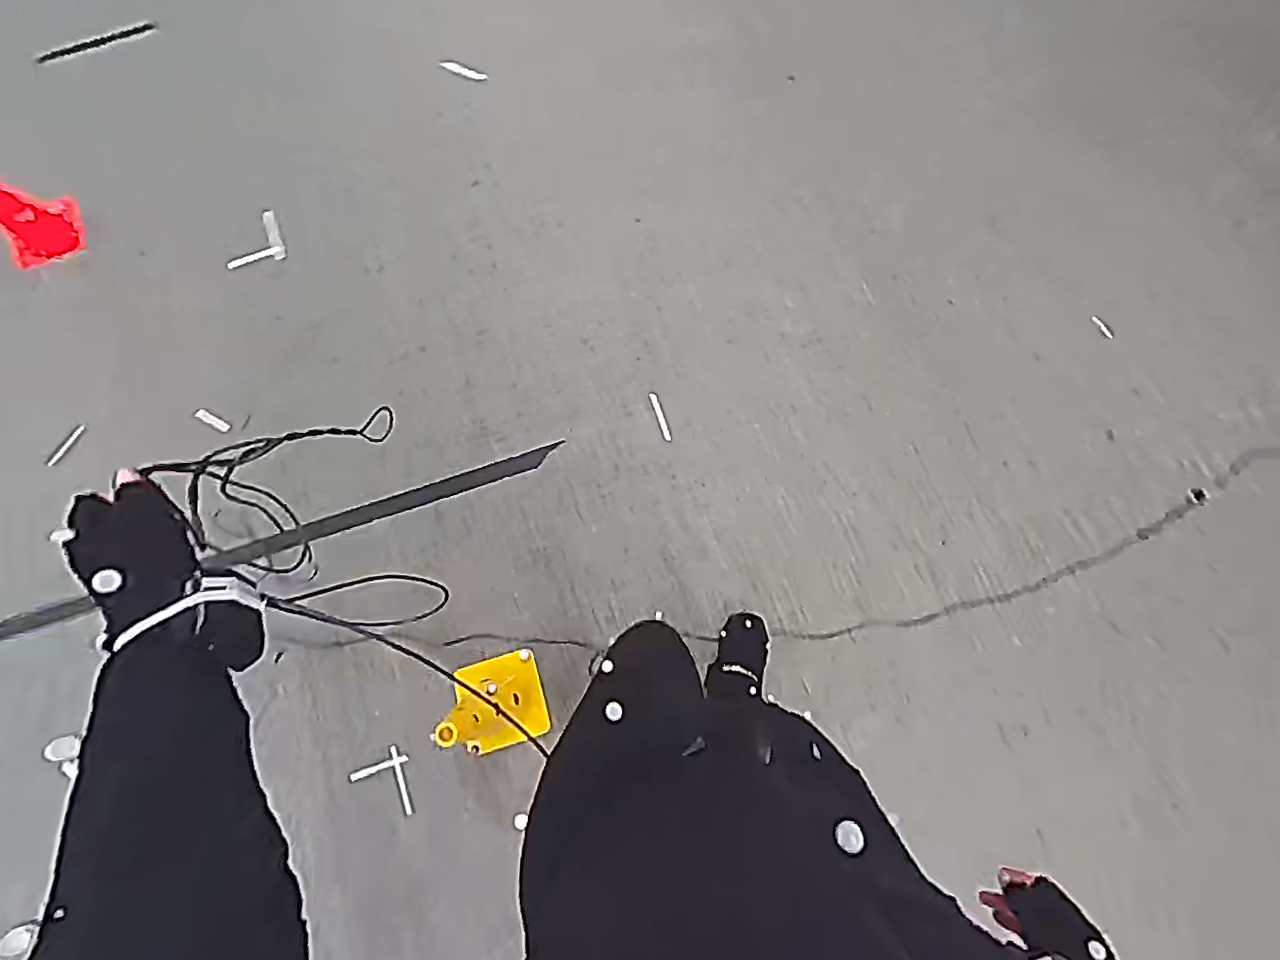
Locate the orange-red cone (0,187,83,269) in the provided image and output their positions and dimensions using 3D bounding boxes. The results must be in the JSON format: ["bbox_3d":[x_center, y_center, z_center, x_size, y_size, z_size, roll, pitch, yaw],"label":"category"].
[{"bbox_3d":[-1.776,-0.774,1.448,0.199,0.360,0.198,-23,77,-3],"label":"orange-red cone"}]
